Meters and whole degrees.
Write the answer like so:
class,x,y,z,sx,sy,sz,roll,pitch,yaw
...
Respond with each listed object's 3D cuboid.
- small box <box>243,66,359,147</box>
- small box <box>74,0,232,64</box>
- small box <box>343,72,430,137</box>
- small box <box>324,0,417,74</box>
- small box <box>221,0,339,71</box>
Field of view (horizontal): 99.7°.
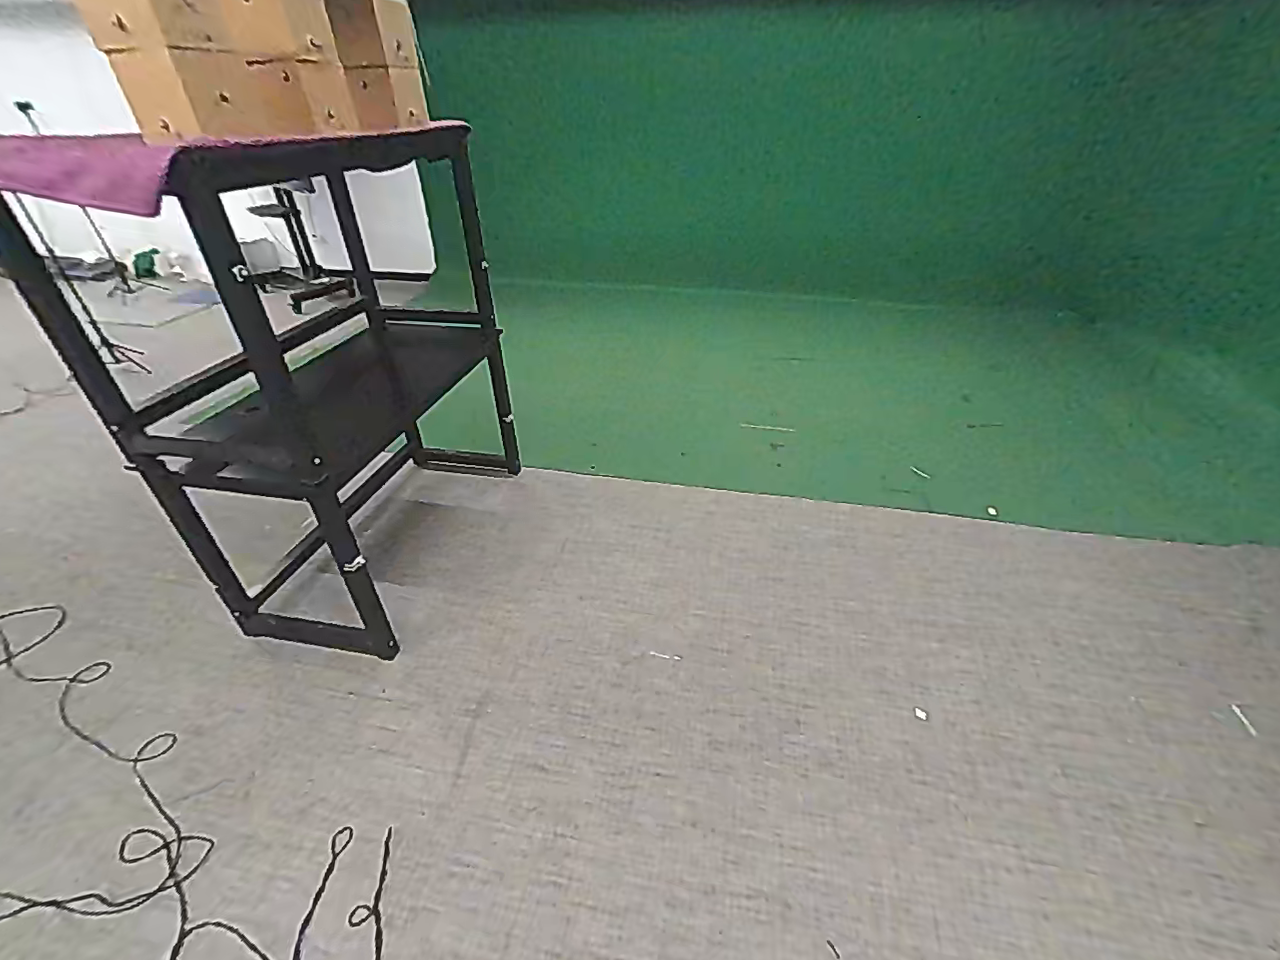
class,x,y,z,sx,sy,sz,roll,pitch,yaw
small box,-0.900,-0.999,1.453,0.179,0.176,0.168,7,36,13
small box,-0.972,-0.936,1.073,0.179,0.176,0.168,5,36,10
small box,-0.818,-1.218,1.760,0.179,0.176,0.168,9,37,13
small box,-0.823,-1.353,1.665,0.179,0.176,0.168,9,37,13
small box,-0.902,-1.128,1.354,0.179,0.176,0.168,5,37,8
